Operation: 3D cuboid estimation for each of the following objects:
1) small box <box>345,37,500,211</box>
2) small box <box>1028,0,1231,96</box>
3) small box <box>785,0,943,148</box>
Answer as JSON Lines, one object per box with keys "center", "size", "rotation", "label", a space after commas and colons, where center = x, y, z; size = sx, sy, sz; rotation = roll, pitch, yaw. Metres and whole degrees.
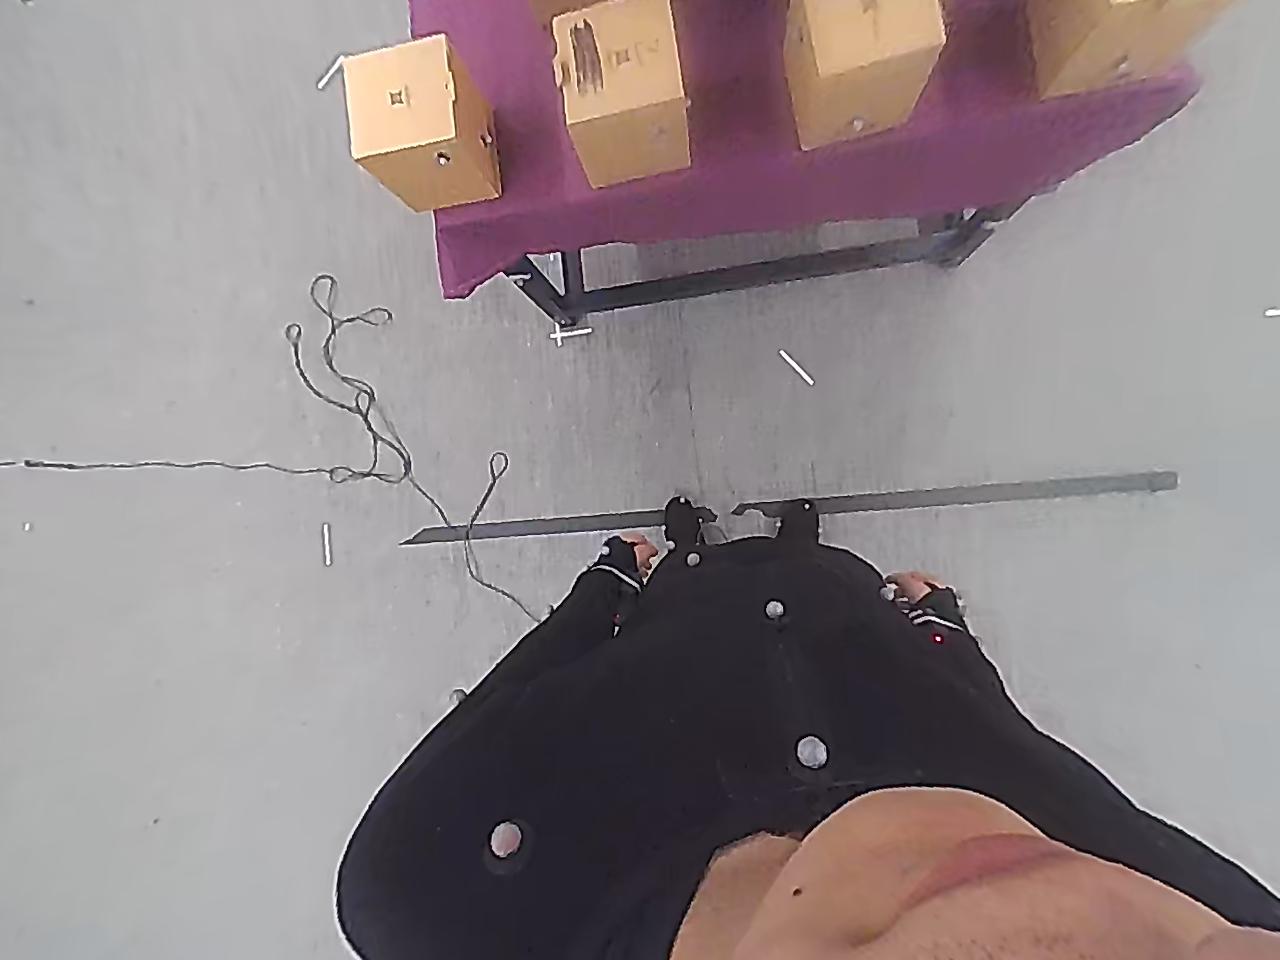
{"center": [-0.356, -0.580, 0.907], "size": [0.179, 0.176, 0.168], "rotation": [-7, 88, 7], "label": "small box"}
{"center": [0.670, -0.685, 0.746], "size": [0.168, 0.176, 0.179], "rotation": [-5, 88, 10], "label": "small box"}
{"center": [0.317, -0.641, 0.802], "size": [0.168, 0.176, 0.179], "rotation": [-10, 88, 9], "label": "small box"}
